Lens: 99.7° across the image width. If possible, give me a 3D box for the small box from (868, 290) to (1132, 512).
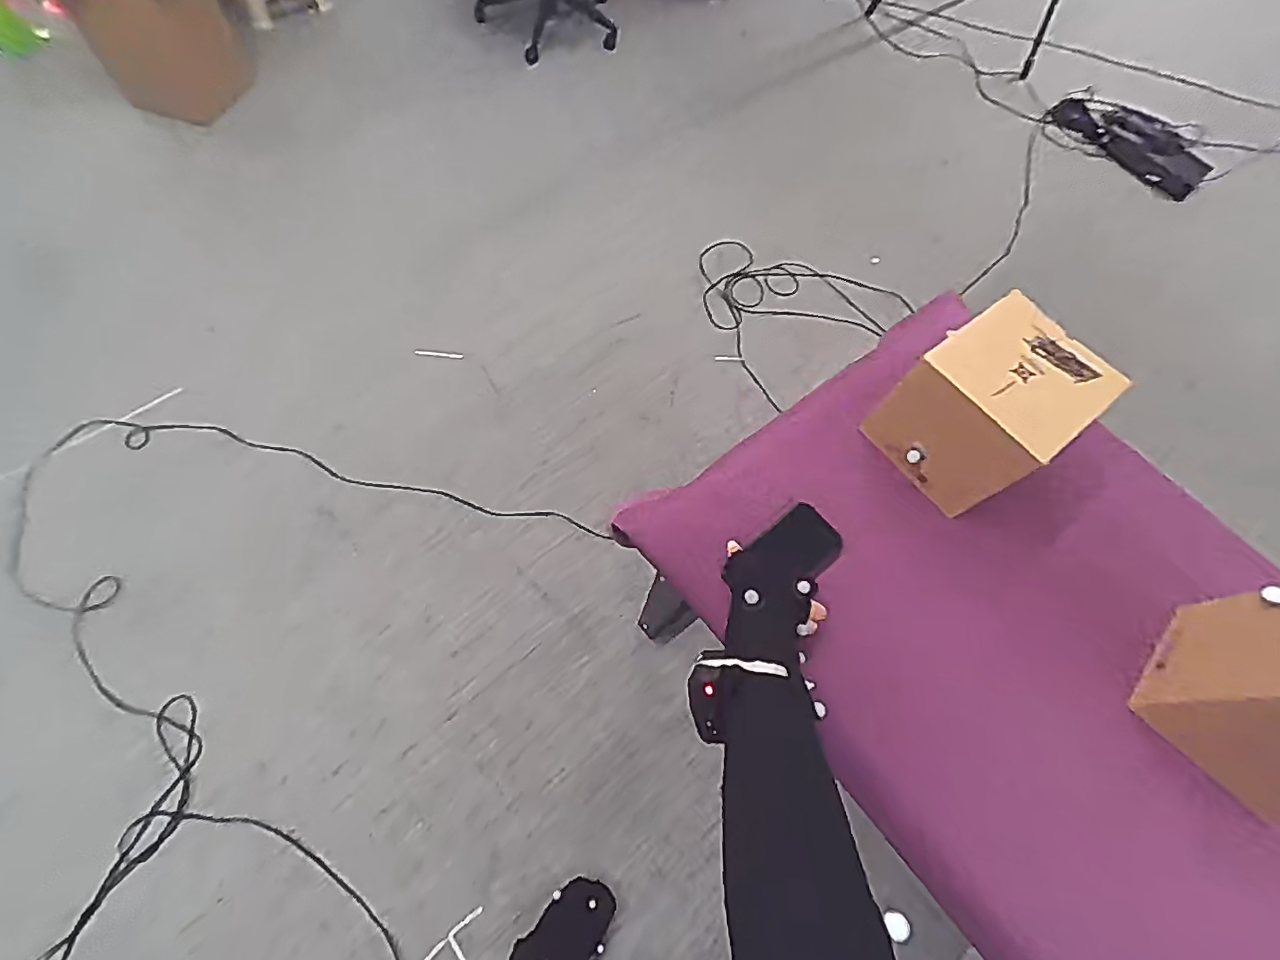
[{"bbox_3d":[0.423,-0.089,0.667,0.179,0.176,0.168,-34,72,-16],"label":"small box"}]
